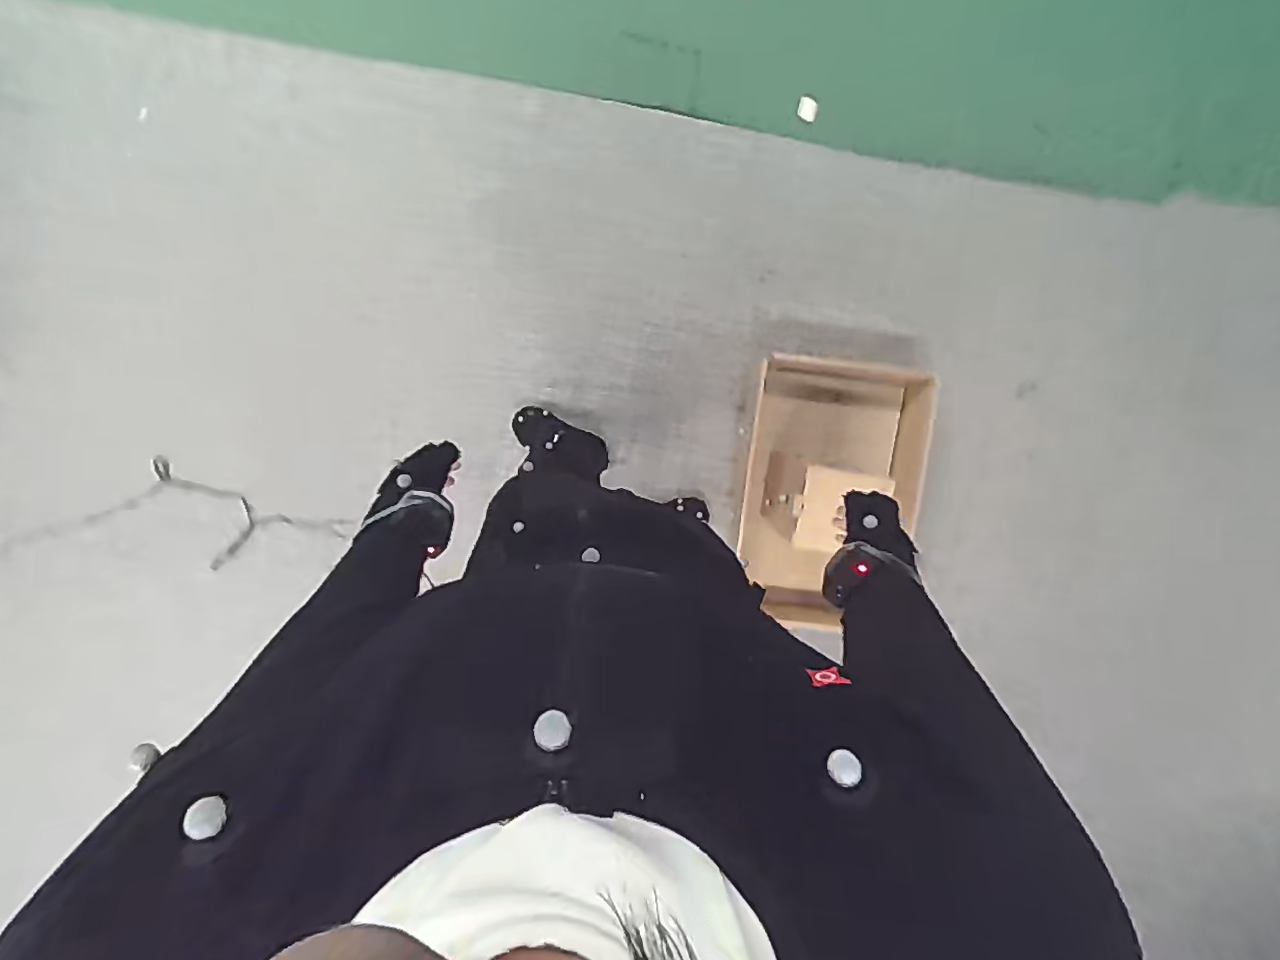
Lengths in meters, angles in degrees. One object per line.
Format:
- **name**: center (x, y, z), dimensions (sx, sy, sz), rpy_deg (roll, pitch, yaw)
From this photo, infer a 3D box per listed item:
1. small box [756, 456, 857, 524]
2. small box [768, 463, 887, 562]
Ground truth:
- **small box**: center (0.390, 0.036, 1.301), dimensions (0.179, 0.176, 0.168), rpy_deg (8, 97, -3)
- **small box**: center (0.383, 0.060, 1.139), dimensions (0.179, 0.176, 0.168), rpy_deg (11, 96, -1)
